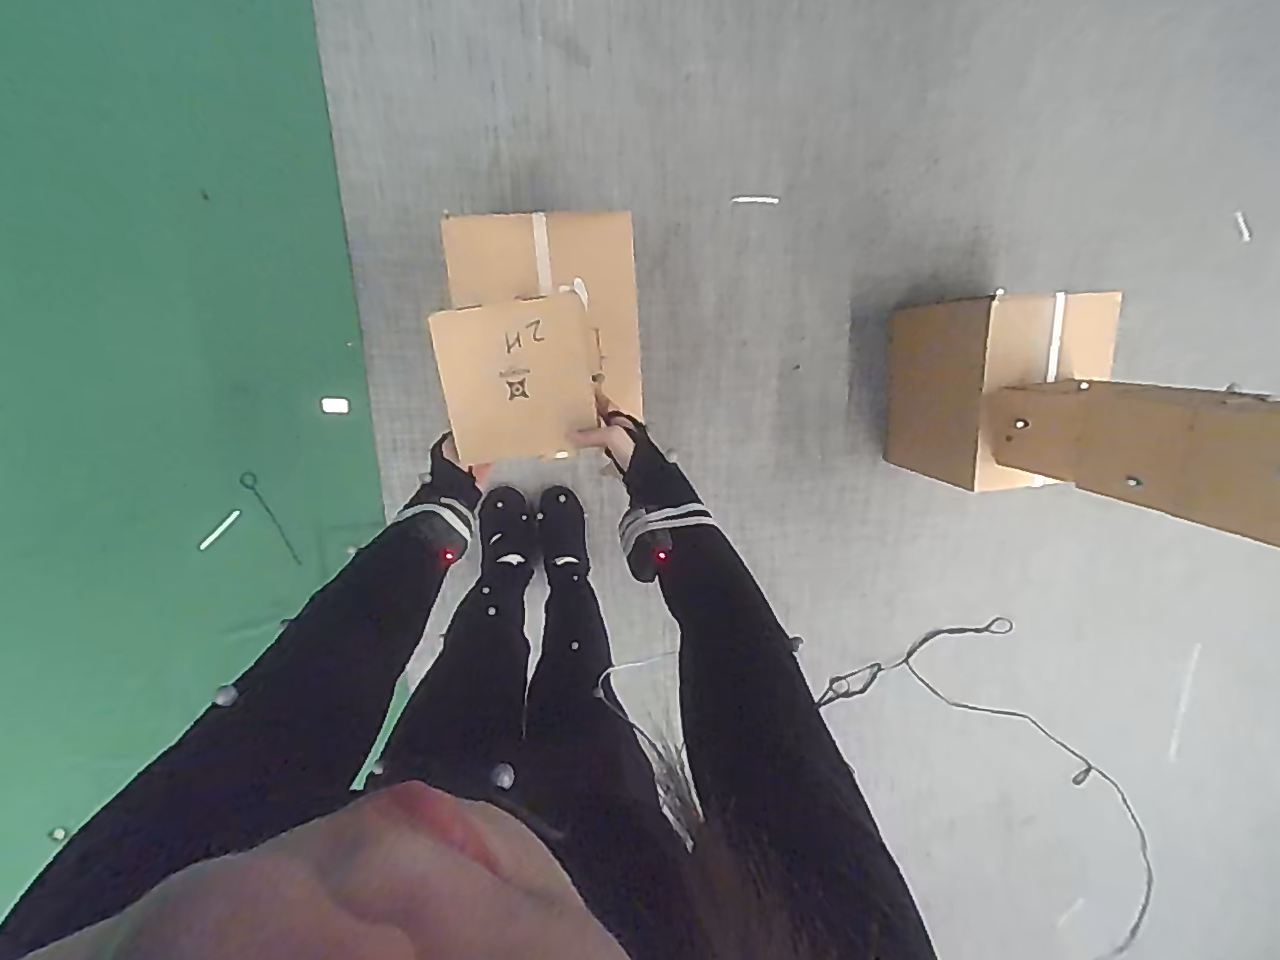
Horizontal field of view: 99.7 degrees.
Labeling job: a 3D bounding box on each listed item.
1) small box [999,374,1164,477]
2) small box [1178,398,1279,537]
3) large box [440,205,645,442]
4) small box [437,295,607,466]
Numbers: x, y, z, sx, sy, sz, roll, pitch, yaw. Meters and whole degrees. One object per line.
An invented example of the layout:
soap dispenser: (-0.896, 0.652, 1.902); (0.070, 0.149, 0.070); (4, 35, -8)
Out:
small box: (0.855, -0.114, 1.063); (0.179, 0.176, 0.168); (-7, 106, -8)
small box: (0.919, -0.019, 0.754); (0.168, 0.176, 0.179); (-4, 107, -9)
large box: (-0.179, -0.285, 1.074); (0.320, 0.320, 0.408); (-6, 104, -9)
small box: (-0.134, -0.129, 0.686); (0.168, 0.176, 0.179); (-8, 104, -2)
